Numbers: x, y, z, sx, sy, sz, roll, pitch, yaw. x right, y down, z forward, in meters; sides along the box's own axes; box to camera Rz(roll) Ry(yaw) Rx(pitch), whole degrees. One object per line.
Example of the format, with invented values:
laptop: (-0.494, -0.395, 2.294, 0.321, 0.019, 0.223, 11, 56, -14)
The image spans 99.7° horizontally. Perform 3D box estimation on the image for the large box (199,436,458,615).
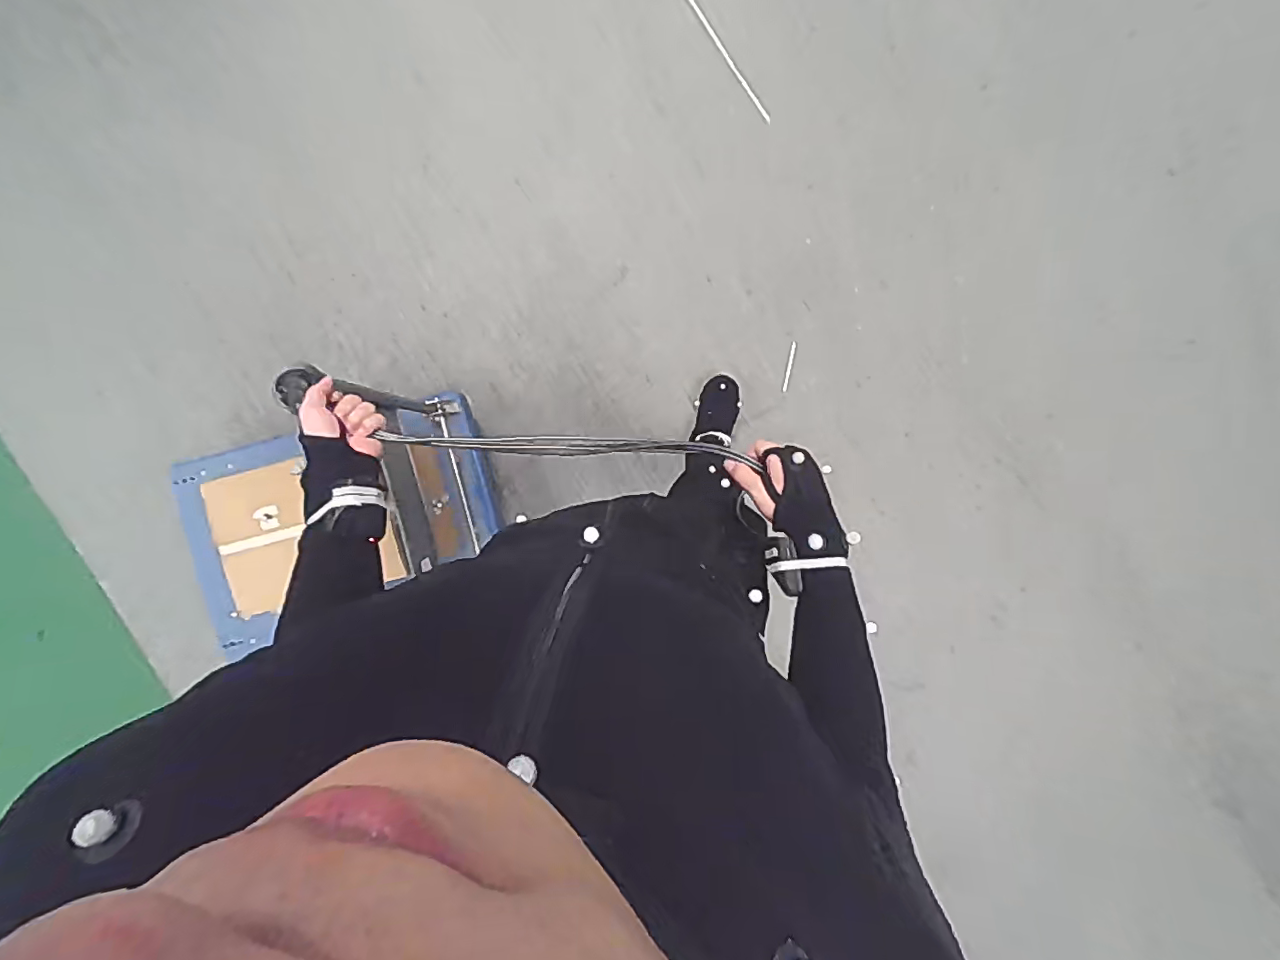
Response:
large box: (-0.724, 0.092, 1.317, 0.408, 0.320, 0.320, -14, 92, 5)
